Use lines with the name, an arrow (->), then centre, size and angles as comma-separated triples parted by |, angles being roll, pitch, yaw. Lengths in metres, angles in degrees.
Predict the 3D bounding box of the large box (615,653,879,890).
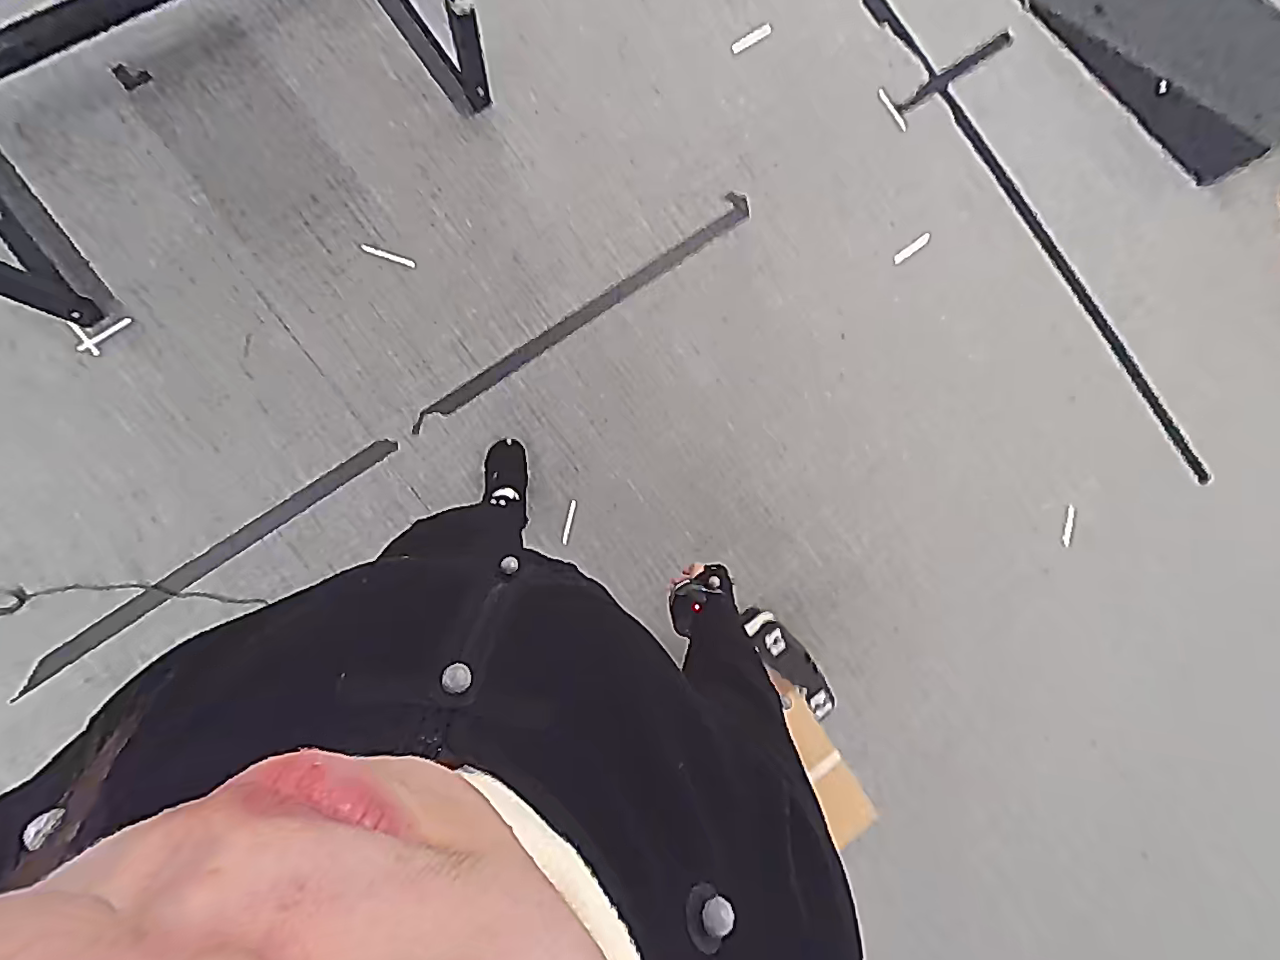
large box -> 0.203, 0.646, 1.166 | 0.408, 0.320, 0.320 | -32, 93, -10
